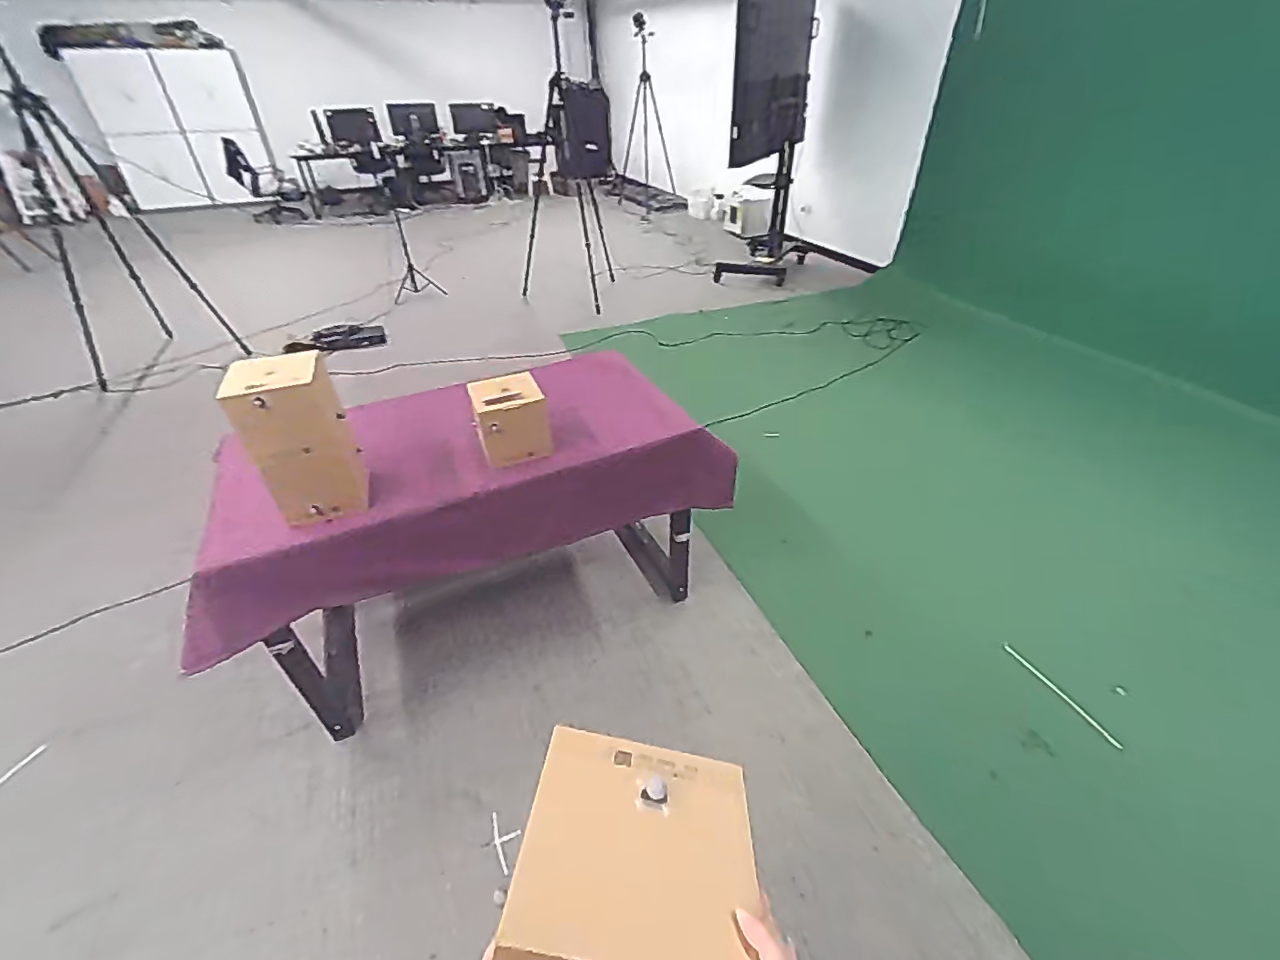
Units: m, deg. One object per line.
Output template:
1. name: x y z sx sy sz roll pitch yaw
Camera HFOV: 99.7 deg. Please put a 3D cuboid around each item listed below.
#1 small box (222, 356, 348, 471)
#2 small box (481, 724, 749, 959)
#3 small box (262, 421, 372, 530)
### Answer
1. small box: -0.740 -0.144 1.151 0.168 0.176 0.179 -15 38 -15
2. small box: -0.022 0.329 0.416 0.168 0.179 0.176 12 18 -1
3. small box: -0.735 -0.012 1.250 0.168 0.176 0.179 -14 39 -15
